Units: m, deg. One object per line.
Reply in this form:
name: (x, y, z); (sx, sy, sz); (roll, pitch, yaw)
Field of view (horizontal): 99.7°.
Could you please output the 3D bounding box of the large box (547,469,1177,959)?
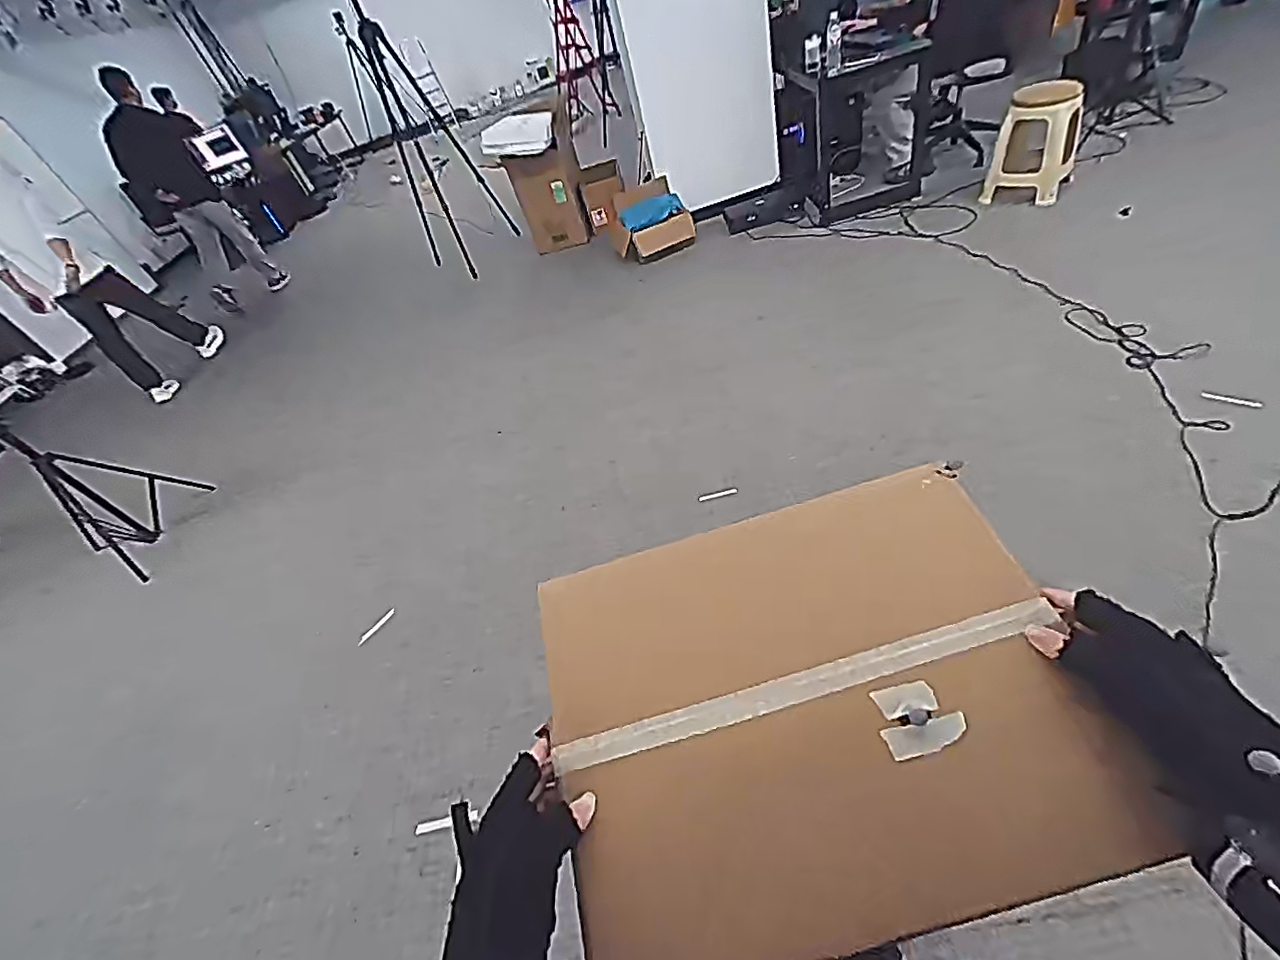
large box: (0.158, 0.250, 0.562); (0.408, 0.320, 0.320); (-18, 54, 1)
